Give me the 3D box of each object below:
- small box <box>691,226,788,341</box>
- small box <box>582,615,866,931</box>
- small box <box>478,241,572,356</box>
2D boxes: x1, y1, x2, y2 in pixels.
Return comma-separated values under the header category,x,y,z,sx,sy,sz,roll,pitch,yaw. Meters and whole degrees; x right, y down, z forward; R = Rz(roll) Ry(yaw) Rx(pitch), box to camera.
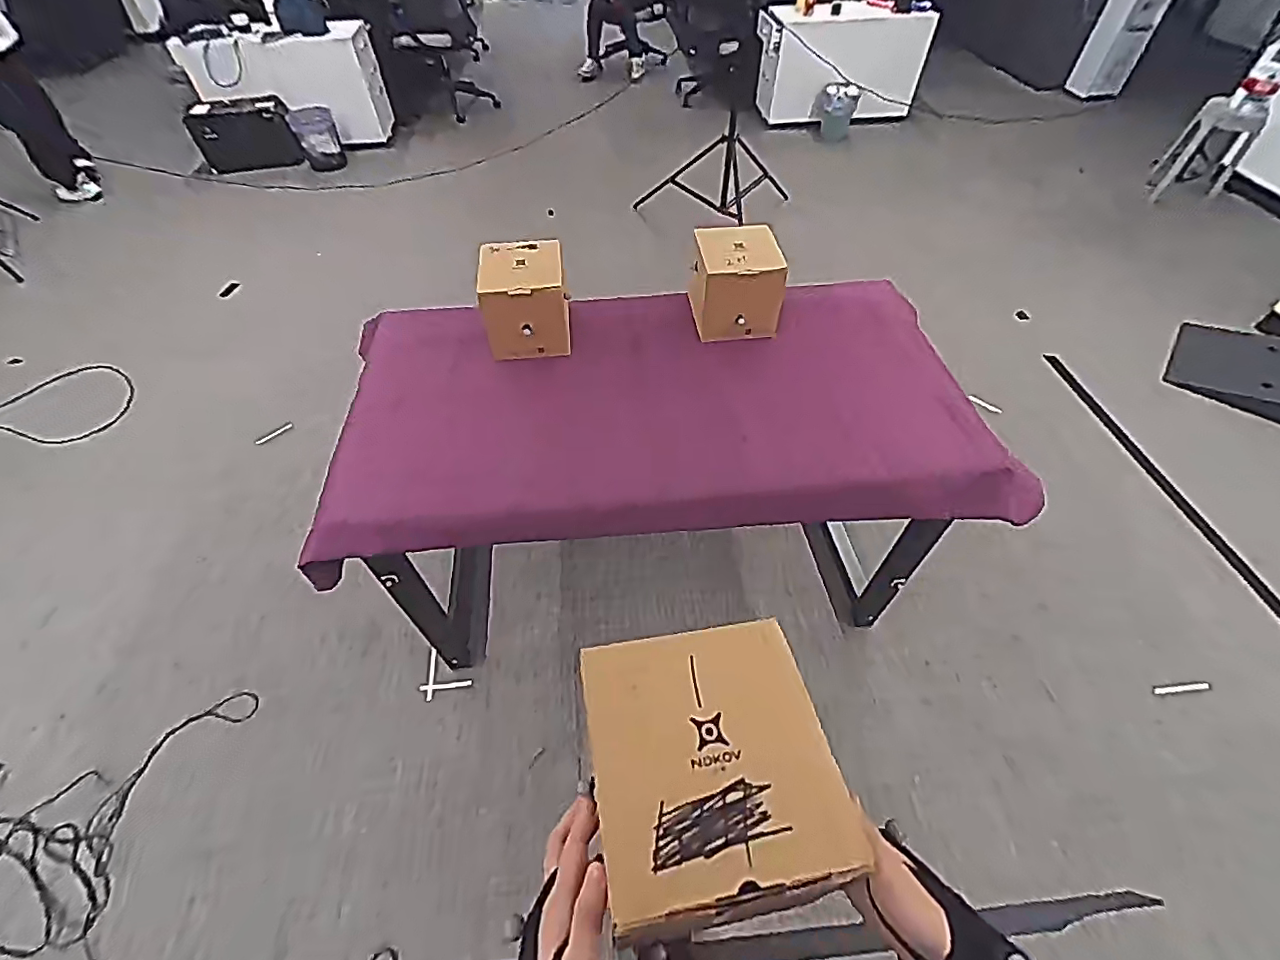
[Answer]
category,x,y,z,sx,sy,sz,roll,pitch,yaw
small box,0.207,-0.428,1.181,0.168,0.176,0.179,-6,53,-2
small box,0.047,0.238,0.437,0.168,0.176,0.179,-6,45,-8
small box,-0.237,-0.377,1.147,0.168,0.176,0.179,-5,54,-4
